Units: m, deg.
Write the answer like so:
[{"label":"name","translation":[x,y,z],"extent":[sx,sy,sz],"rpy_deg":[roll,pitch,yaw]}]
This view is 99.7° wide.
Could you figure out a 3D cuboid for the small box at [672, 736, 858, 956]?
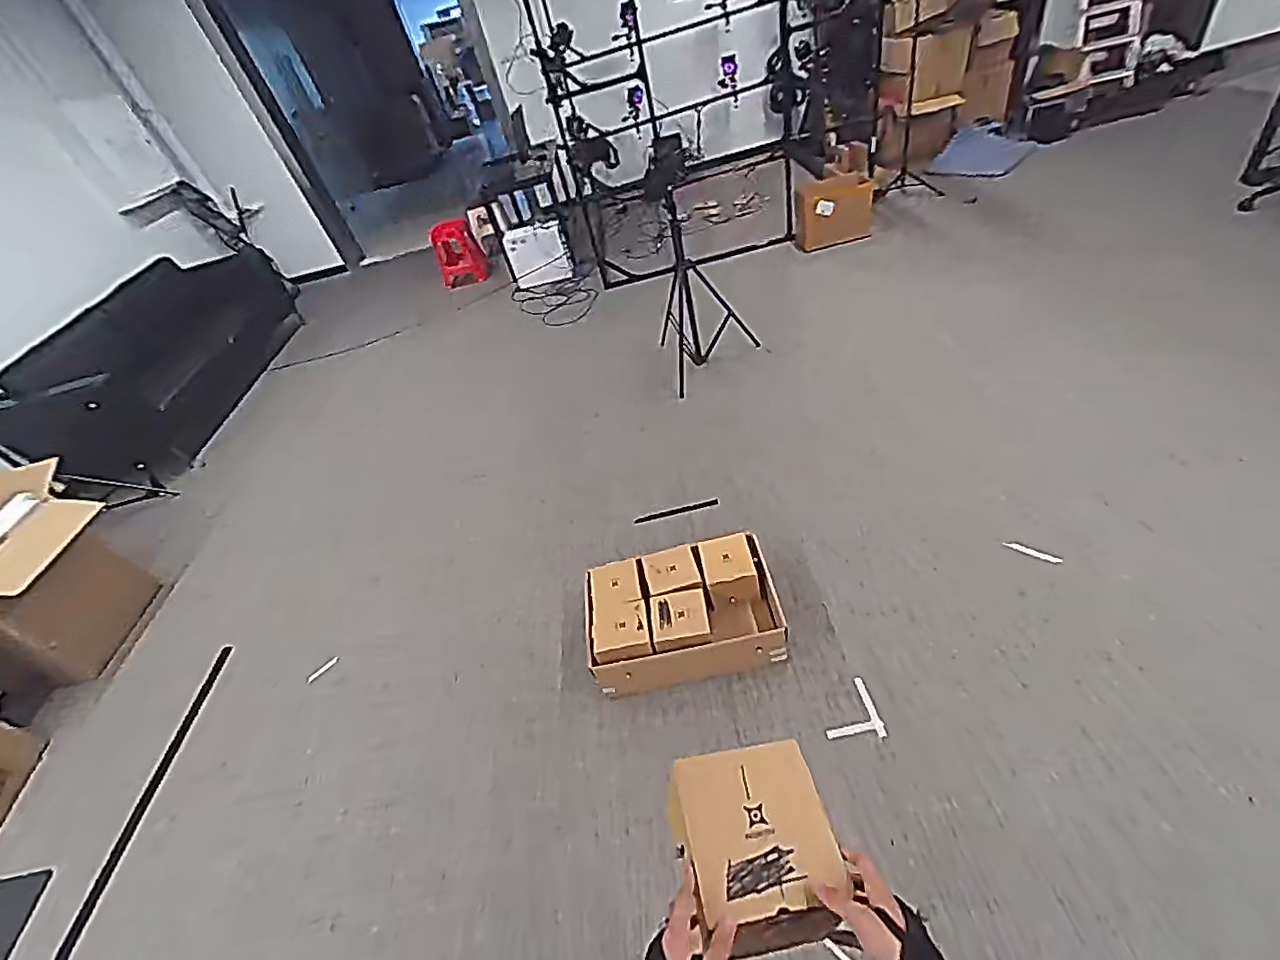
[{"label":"small box","translation":[0.136,0.450,0.664],"extent":[0.168,0.176,0.179],"rpy_deg":[-6,39,-7]}]
